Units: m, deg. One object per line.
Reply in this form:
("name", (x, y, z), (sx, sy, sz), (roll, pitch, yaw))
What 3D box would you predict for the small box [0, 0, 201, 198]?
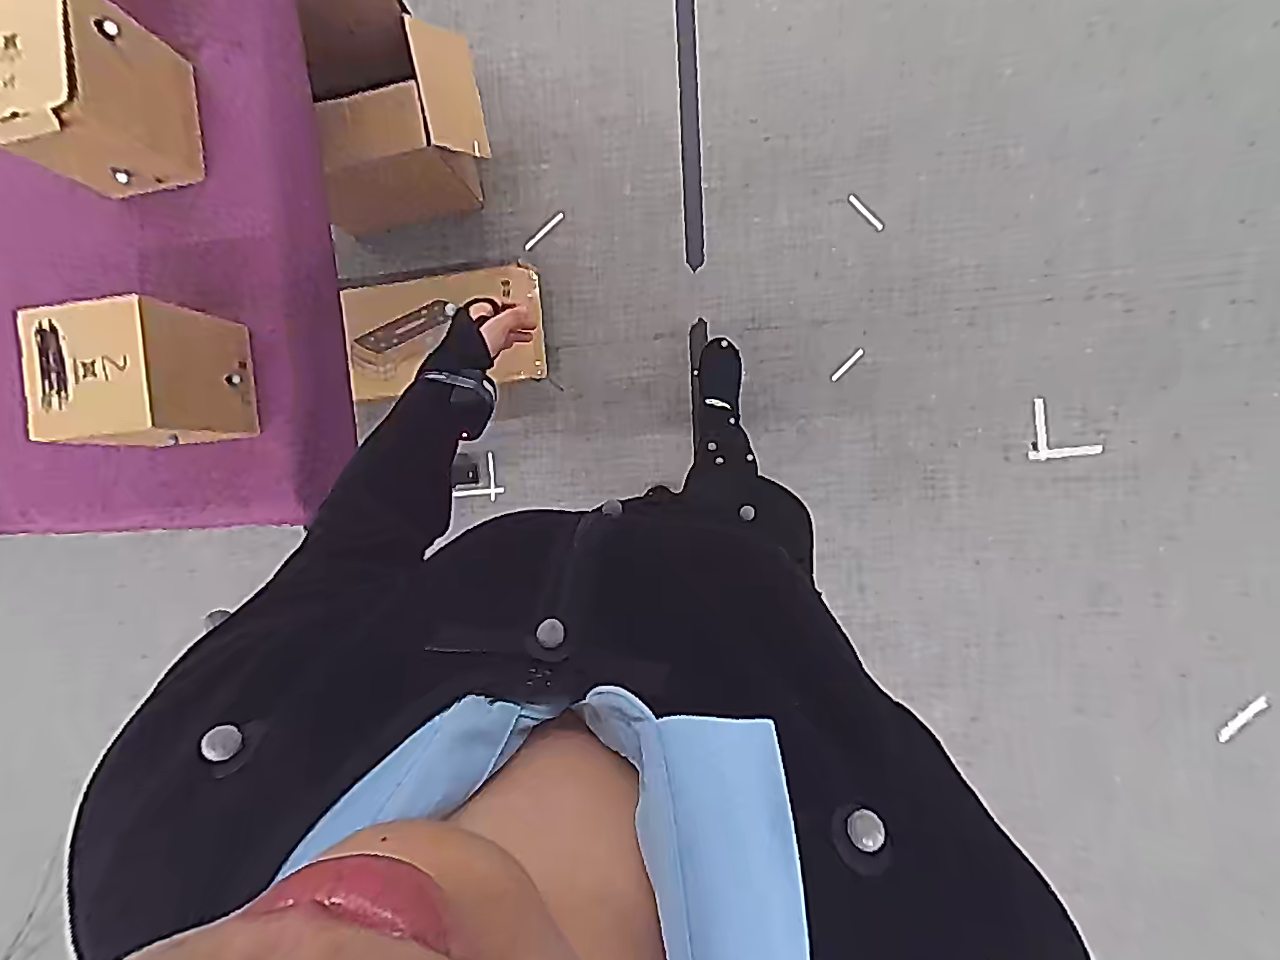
("small box", (-0.752, -0.523, 0.739), (0.168, 0.176, 0.179), (-6, 91, 9))
